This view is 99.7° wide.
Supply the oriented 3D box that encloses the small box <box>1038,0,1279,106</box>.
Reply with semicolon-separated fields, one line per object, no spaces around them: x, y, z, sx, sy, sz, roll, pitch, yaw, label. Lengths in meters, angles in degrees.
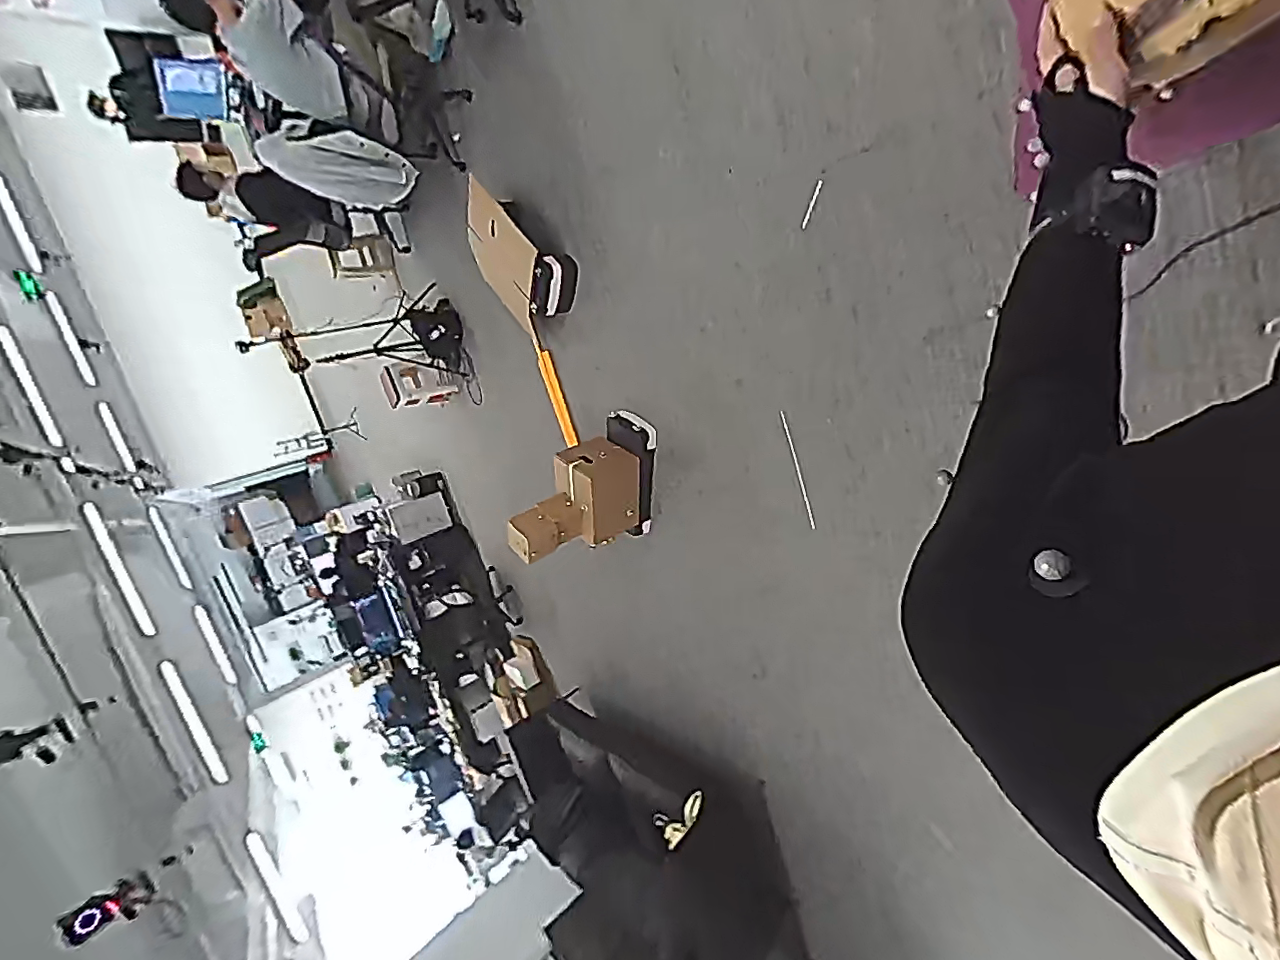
0.499;-0.487;0.502;0.168;0.176;0.179;-23;90;55;small box
